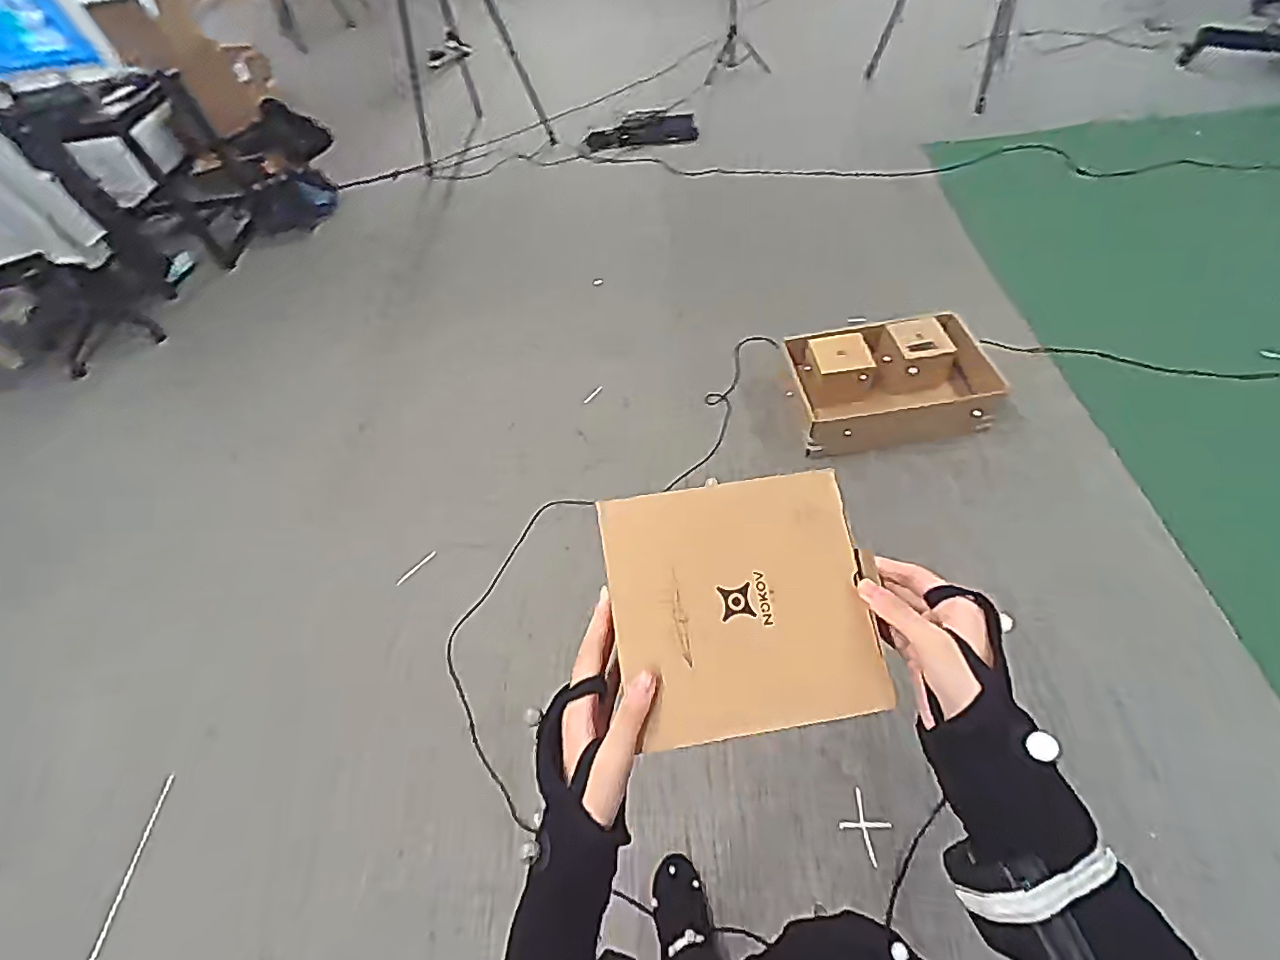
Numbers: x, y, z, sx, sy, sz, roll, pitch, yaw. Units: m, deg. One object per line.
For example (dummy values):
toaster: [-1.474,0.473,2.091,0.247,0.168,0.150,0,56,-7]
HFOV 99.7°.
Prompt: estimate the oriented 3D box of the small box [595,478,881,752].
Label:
small box: [0.060,0.105,0.443,0.179,0.176,0.168,-7,75,-3]

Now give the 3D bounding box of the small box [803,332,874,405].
small box: [0.662,-0.372,1.833,0.179,0.176,0.168,-8,56,1]
